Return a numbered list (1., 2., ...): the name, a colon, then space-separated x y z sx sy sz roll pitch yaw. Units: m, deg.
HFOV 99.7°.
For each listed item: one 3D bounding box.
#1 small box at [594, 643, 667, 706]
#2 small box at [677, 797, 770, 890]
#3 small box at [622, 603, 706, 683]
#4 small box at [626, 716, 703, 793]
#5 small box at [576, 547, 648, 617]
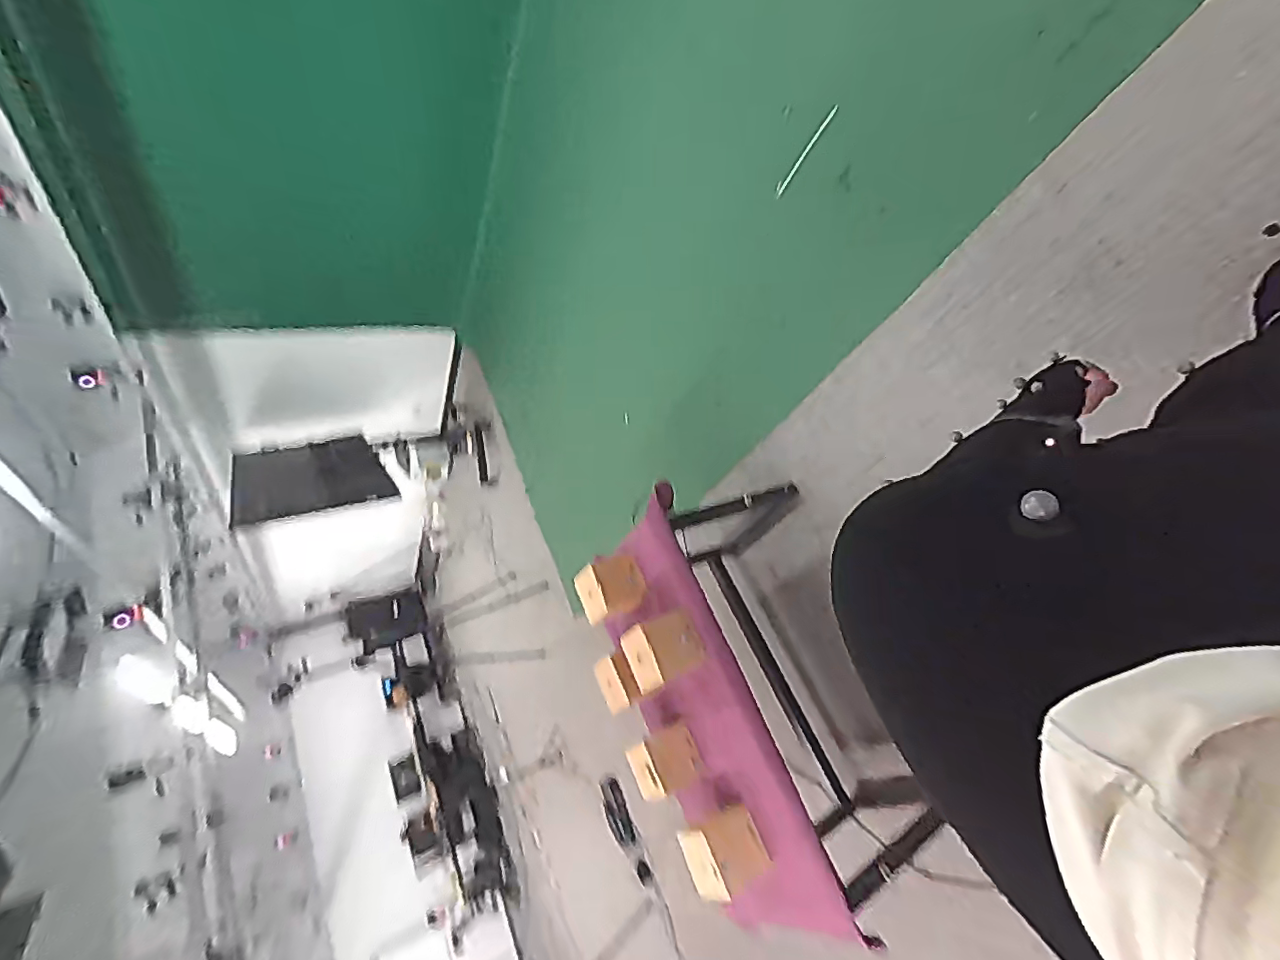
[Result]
1. small box: -0.031 0.658 1.873 0.168 0.176 0.179 62 144 21
2. small box: 0.243 1.050 1.574 0.168 0.176 0.179 63 145 20
3. small box: 0.073 0.498 1.653 0.168 0.176 0.179 64 146 19
4. small box: 0.085 0.897 1.772 0.168 0.176 0.179 63 146 22
5. small box: -0.097 0.353 1.872 0.179 0.176 0.168 -50 59 51
